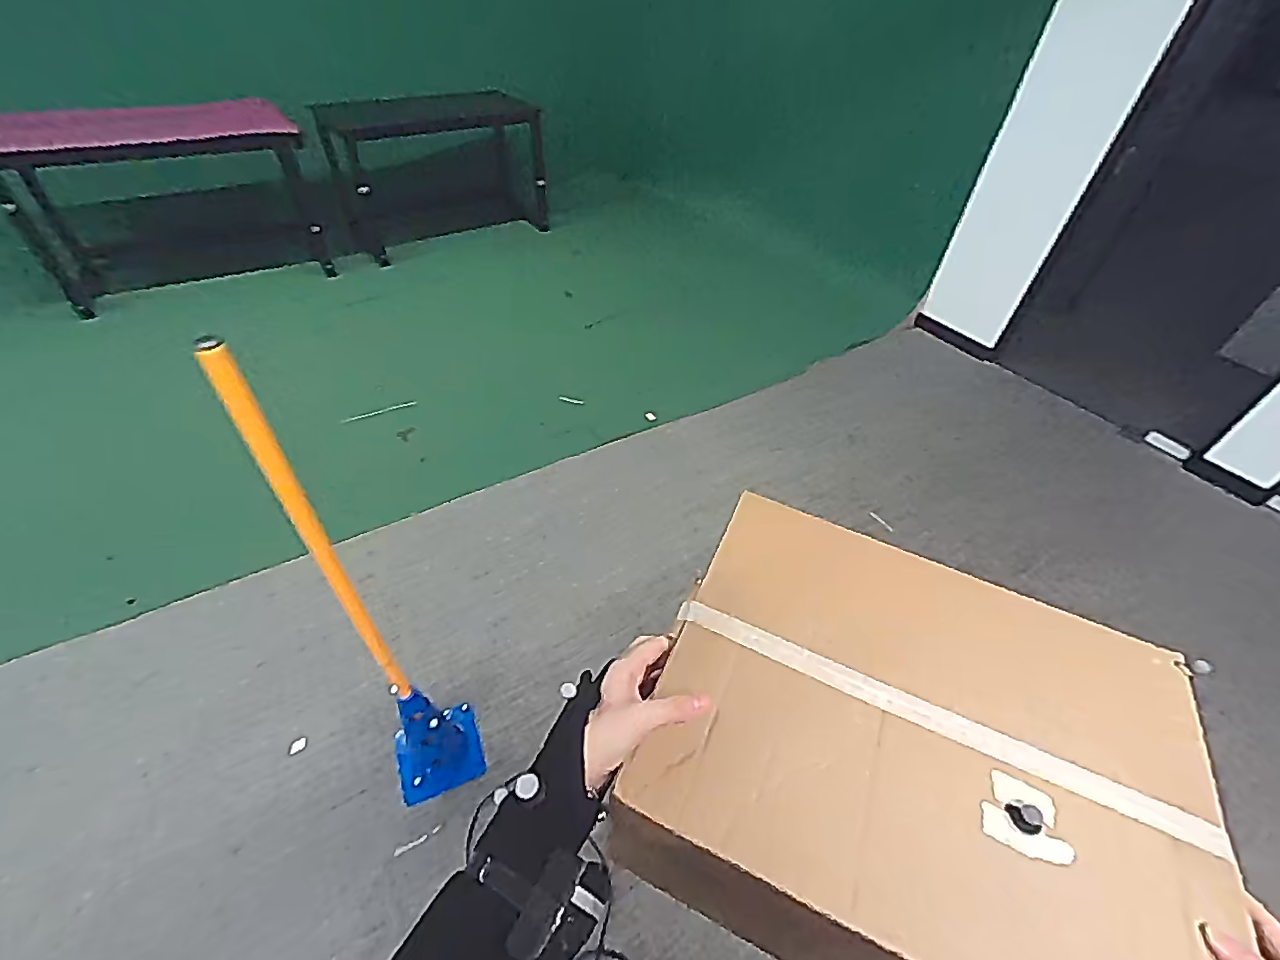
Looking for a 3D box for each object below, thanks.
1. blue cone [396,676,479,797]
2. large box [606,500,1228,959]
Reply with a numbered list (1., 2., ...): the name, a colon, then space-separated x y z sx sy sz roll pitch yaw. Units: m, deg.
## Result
1. blue cone: -0.510 0.576 1.275 0.193 0.380 0.192 -14 47 -19
2. large box: 0.212 0.286 0.546 0.408 0.320 0.320 22 51 13
